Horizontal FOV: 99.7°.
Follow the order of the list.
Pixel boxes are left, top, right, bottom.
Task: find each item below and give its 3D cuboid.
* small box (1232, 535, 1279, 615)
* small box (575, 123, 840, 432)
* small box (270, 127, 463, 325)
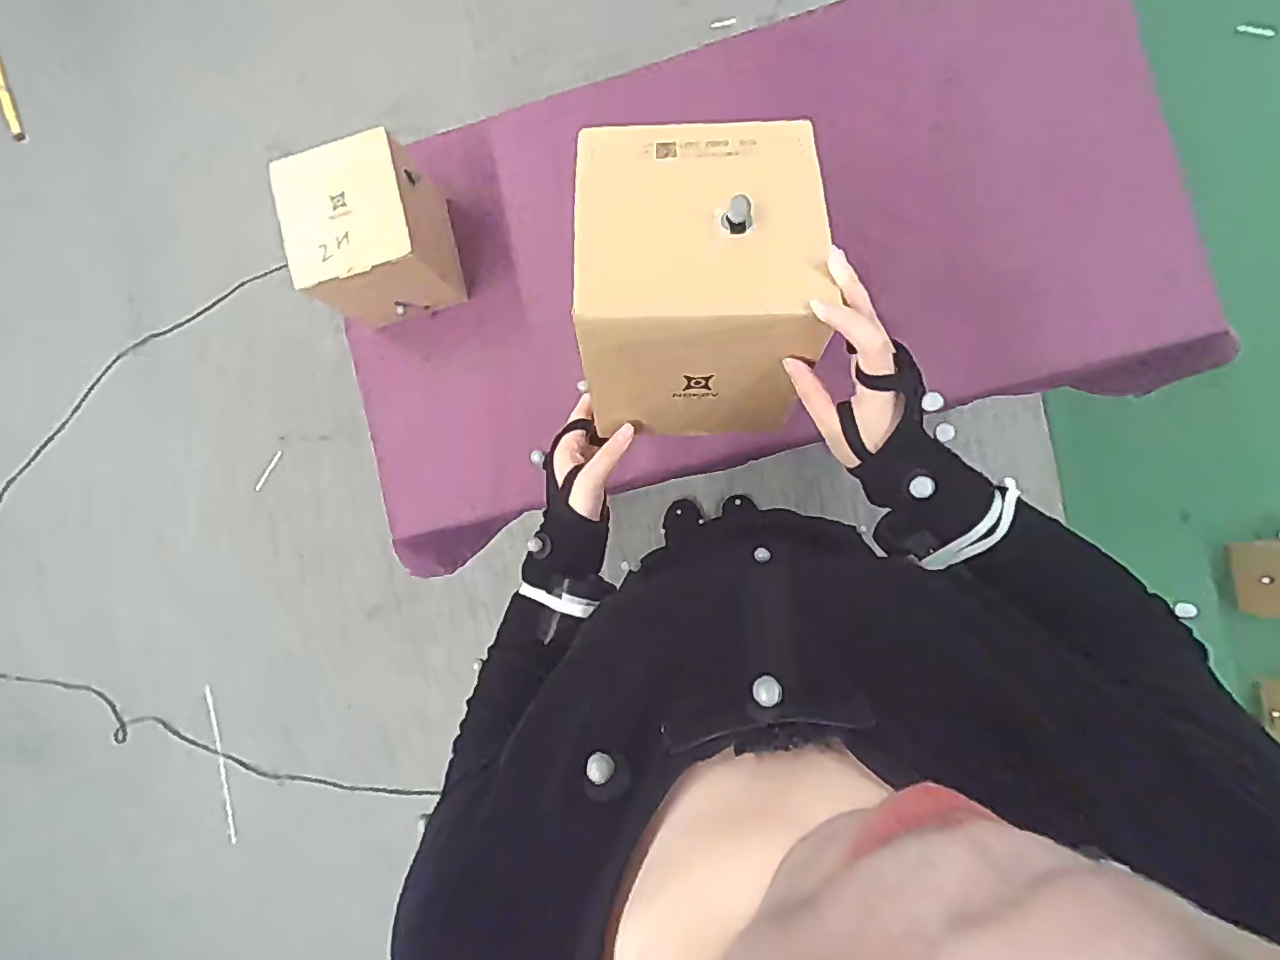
[{"bbox_3d":[1.561,0.224,1.261,0.168,0.176,0.179,-8,86,6],"label":"small box"},{"bbox_3d":[0.041,-0.151,0.432,0.168,0.179,0.176,0,70,2],"label":"small box"},{"bbox_3d":[-0.375,-0.346,0.769,0.168,0.176,0.179,-14,87,6],"label":"small box"}]
